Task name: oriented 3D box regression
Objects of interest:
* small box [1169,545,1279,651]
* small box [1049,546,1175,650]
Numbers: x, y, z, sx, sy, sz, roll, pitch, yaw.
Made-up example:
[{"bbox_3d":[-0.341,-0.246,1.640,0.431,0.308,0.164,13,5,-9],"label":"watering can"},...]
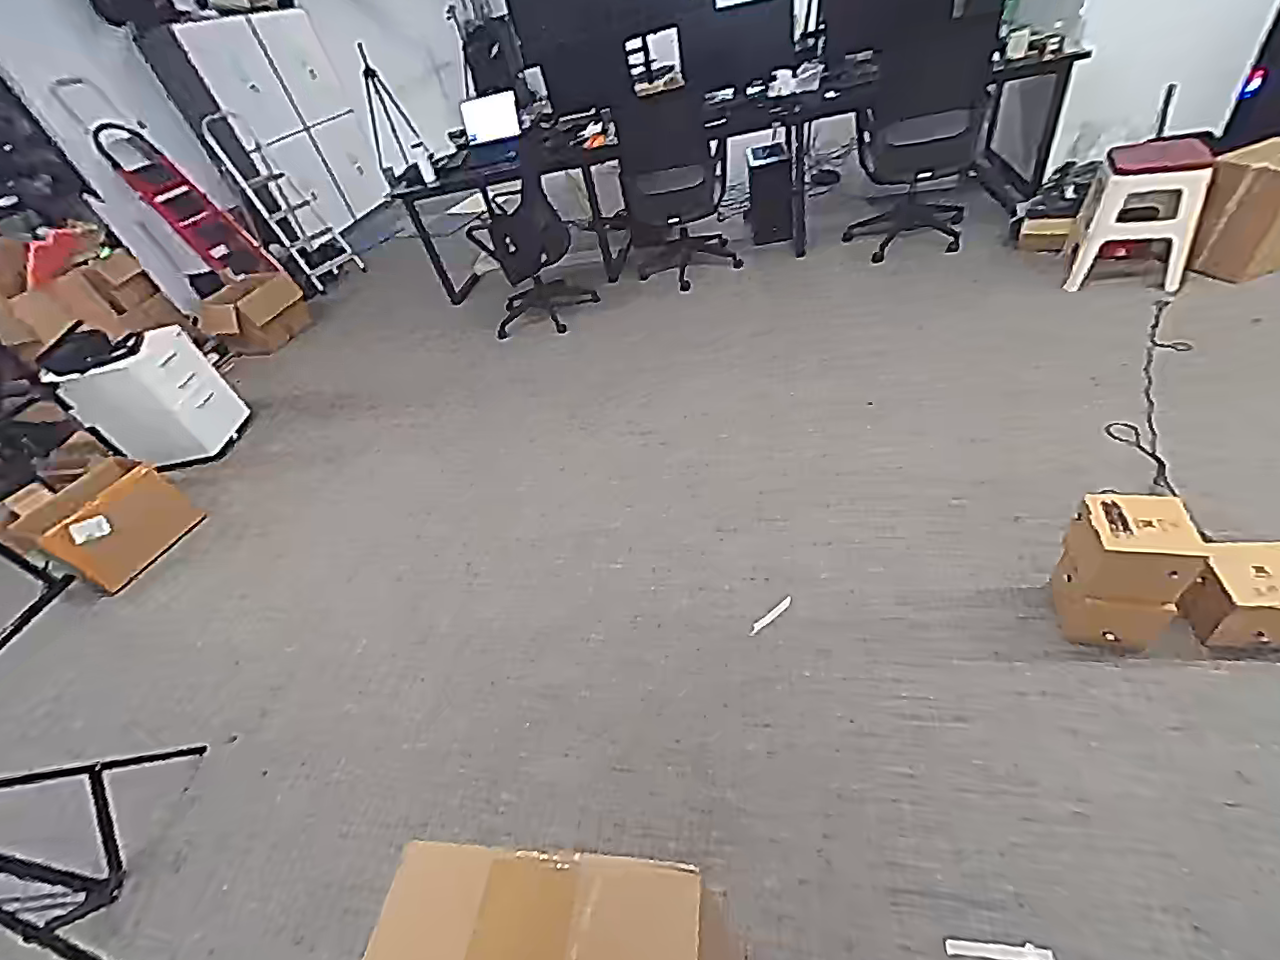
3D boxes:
[{"bbox_3d":[1.381,0.268,1.241,0.168,0.176,0.179,-3,43,17],"label":"small box"},{"bbox_3d":[1.125,0.283,1.308,0.168,0.176,0.179,2,46,20],"label":"small box"}]
